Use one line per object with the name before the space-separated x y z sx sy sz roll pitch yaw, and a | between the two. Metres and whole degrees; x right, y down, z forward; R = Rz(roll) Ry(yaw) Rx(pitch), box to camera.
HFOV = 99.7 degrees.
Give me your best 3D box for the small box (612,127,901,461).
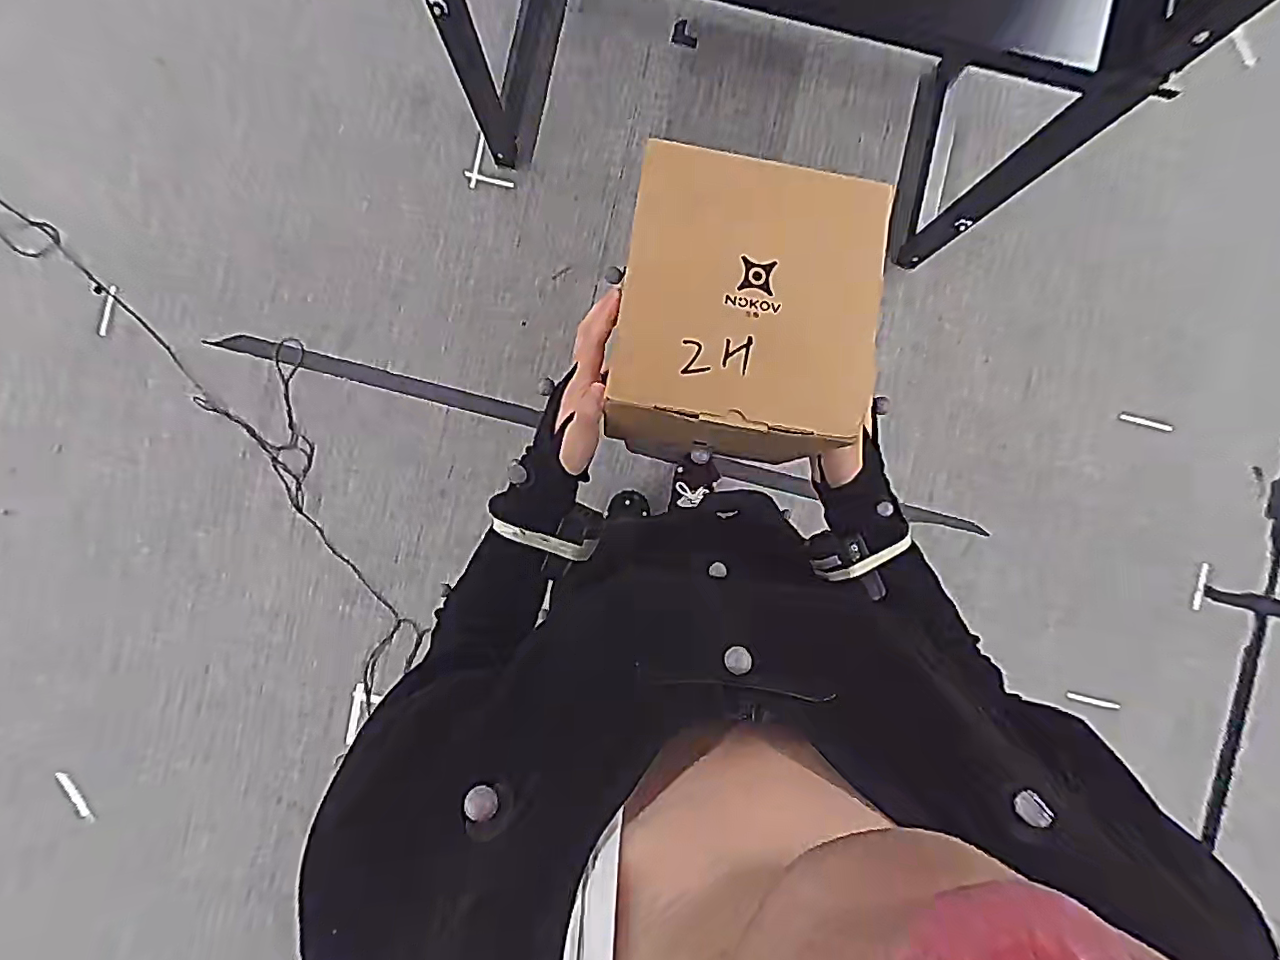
small box | 0.070 -0.119 0.416 0.168 0.176 0.179 9 86 -2
